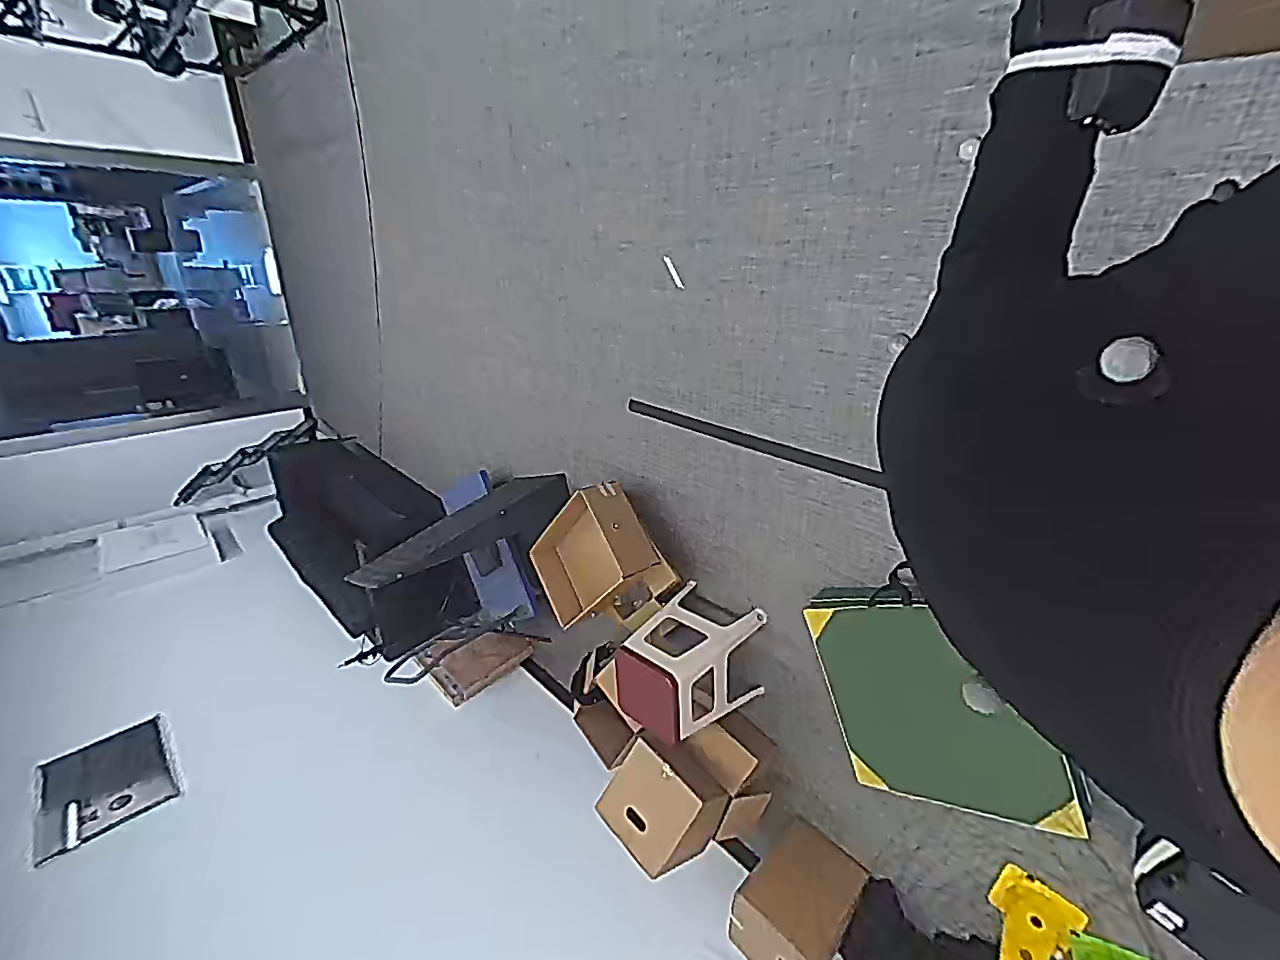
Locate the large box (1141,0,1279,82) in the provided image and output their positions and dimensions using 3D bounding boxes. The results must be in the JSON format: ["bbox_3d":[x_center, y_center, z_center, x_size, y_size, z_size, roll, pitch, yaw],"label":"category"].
[{"bbox_3d":[0.547,-0.429,0.250,0.408,0.320,0.320,21,123,37],"label":"large box"}]
